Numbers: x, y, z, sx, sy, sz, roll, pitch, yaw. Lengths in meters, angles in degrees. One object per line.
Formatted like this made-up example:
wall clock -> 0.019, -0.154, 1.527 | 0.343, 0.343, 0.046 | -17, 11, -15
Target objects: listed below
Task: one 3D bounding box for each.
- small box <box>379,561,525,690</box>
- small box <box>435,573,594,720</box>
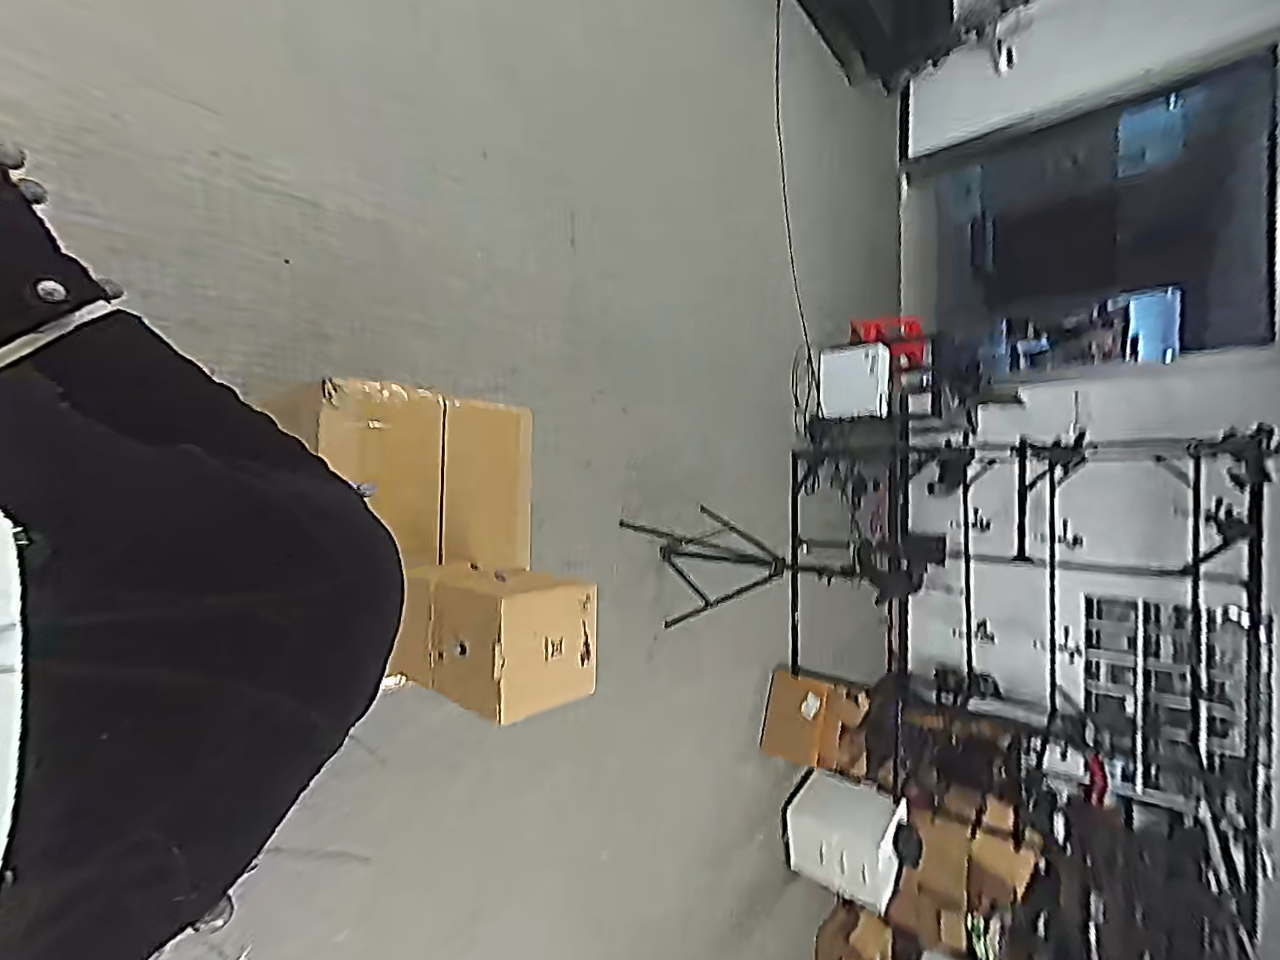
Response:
small box -> -0.314, 0.232, 0.913 | 0.179, 0.176, 0.168 | 1, 88, -49
small box -> -0.188, 0.233, 0.808 | 0.179, 0.176, 0.168 | 3, 87, -48
